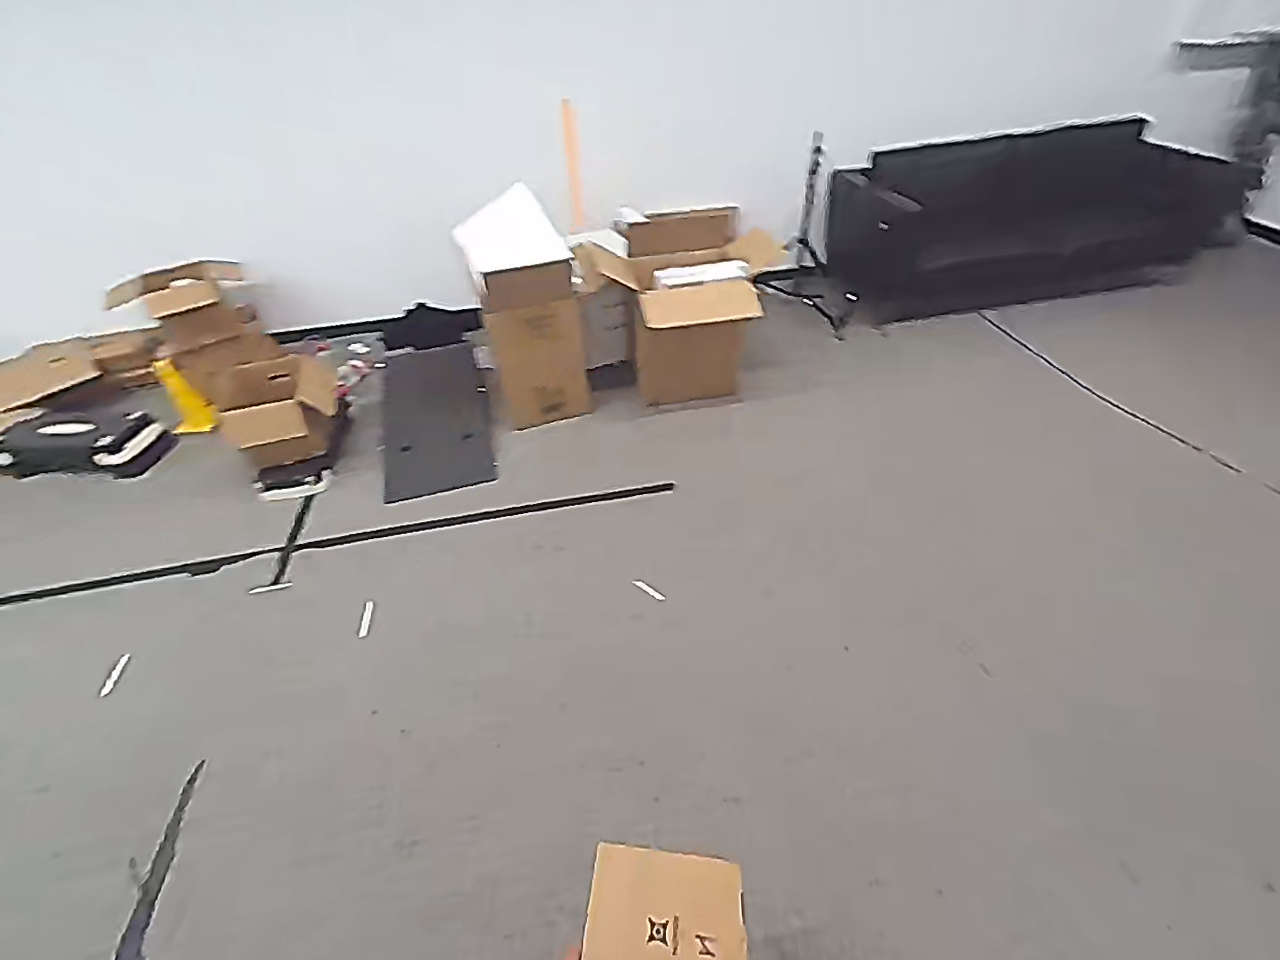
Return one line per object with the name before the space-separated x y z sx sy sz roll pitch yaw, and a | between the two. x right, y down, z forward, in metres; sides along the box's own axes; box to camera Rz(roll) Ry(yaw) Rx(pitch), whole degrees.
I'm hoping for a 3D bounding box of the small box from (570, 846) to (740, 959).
small box | 0.013 0.555 0.609 0.179 0.176 0.168 7 29 2
